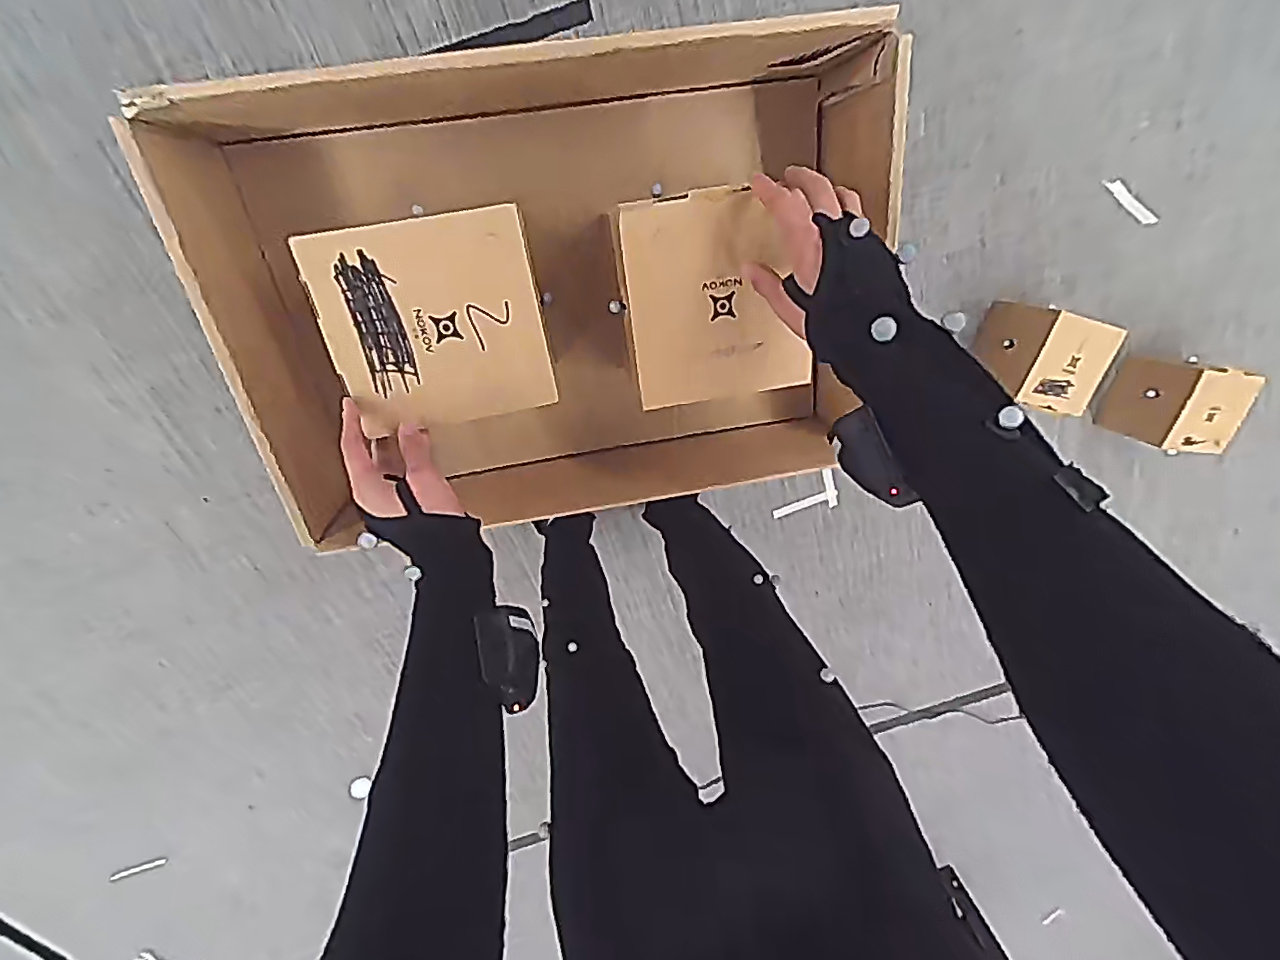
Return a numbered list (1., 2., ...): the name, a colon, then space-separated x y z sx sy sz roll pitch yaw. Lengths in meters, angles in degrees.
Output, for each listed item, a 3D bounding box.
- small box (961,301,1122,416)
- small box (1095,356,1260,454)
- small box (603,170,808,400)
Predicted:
1. small box: 0.801 -0.252 1.105 0.168 0.176 0.179 10 112 -14
2. small box: 1.177 -0.171 1.202 0.168 0.176 0.179 4 113 -11
3. small box: 0.058 -0.195 0.548 0.168 0.176 0.179 -10 114 -3
